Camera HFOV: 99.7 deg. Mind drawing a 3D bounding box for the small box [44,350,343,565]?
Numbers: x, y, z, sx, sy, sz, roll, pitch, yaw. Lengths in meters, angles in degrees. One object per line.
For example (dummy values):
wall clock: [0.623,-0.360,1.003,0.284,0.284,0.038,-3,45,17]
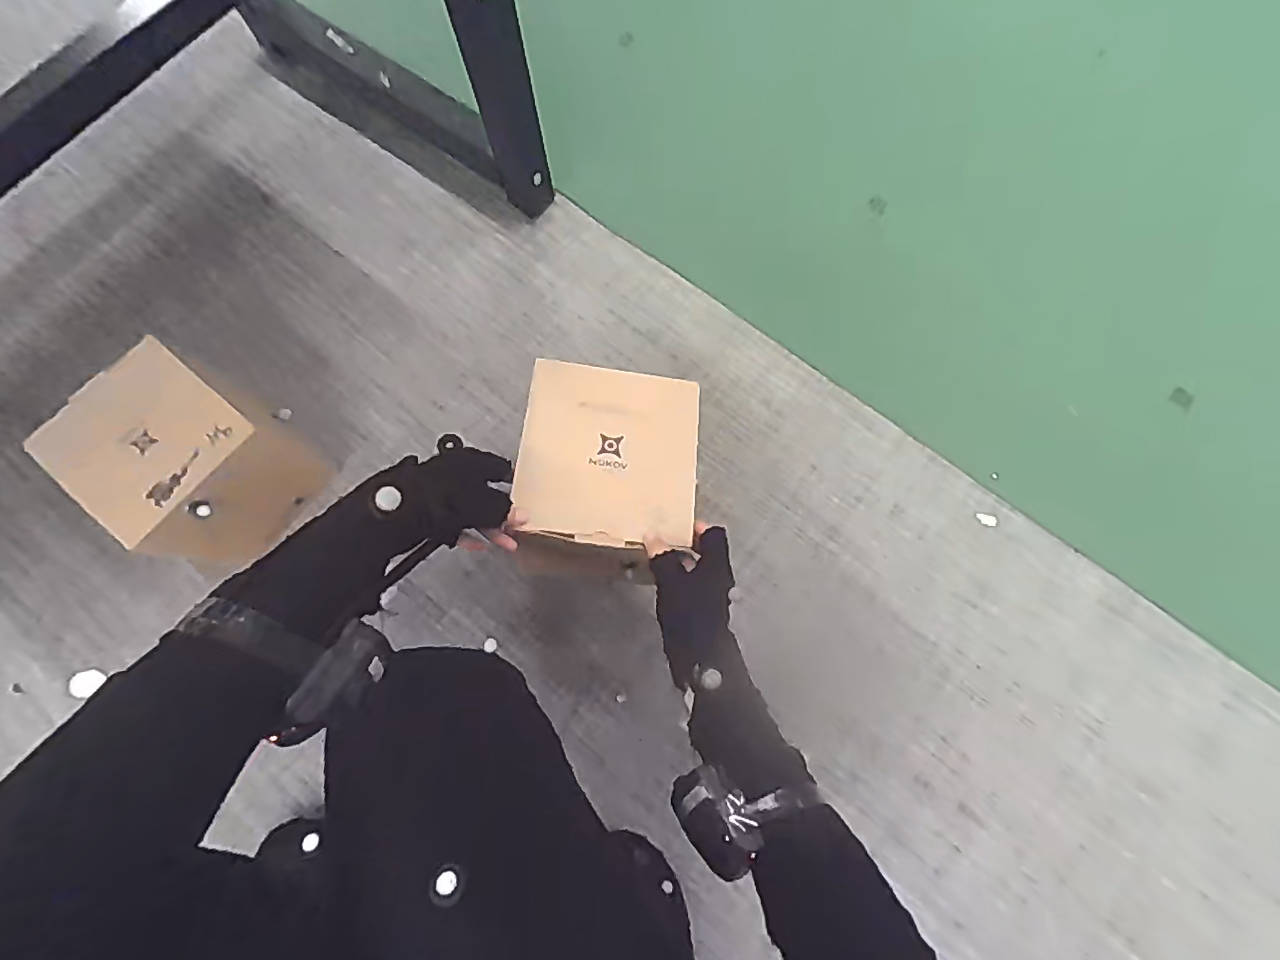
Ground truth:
small box: [-0.508,-0.013,0.643,0.179,0.176,0.168,37,80,10]
